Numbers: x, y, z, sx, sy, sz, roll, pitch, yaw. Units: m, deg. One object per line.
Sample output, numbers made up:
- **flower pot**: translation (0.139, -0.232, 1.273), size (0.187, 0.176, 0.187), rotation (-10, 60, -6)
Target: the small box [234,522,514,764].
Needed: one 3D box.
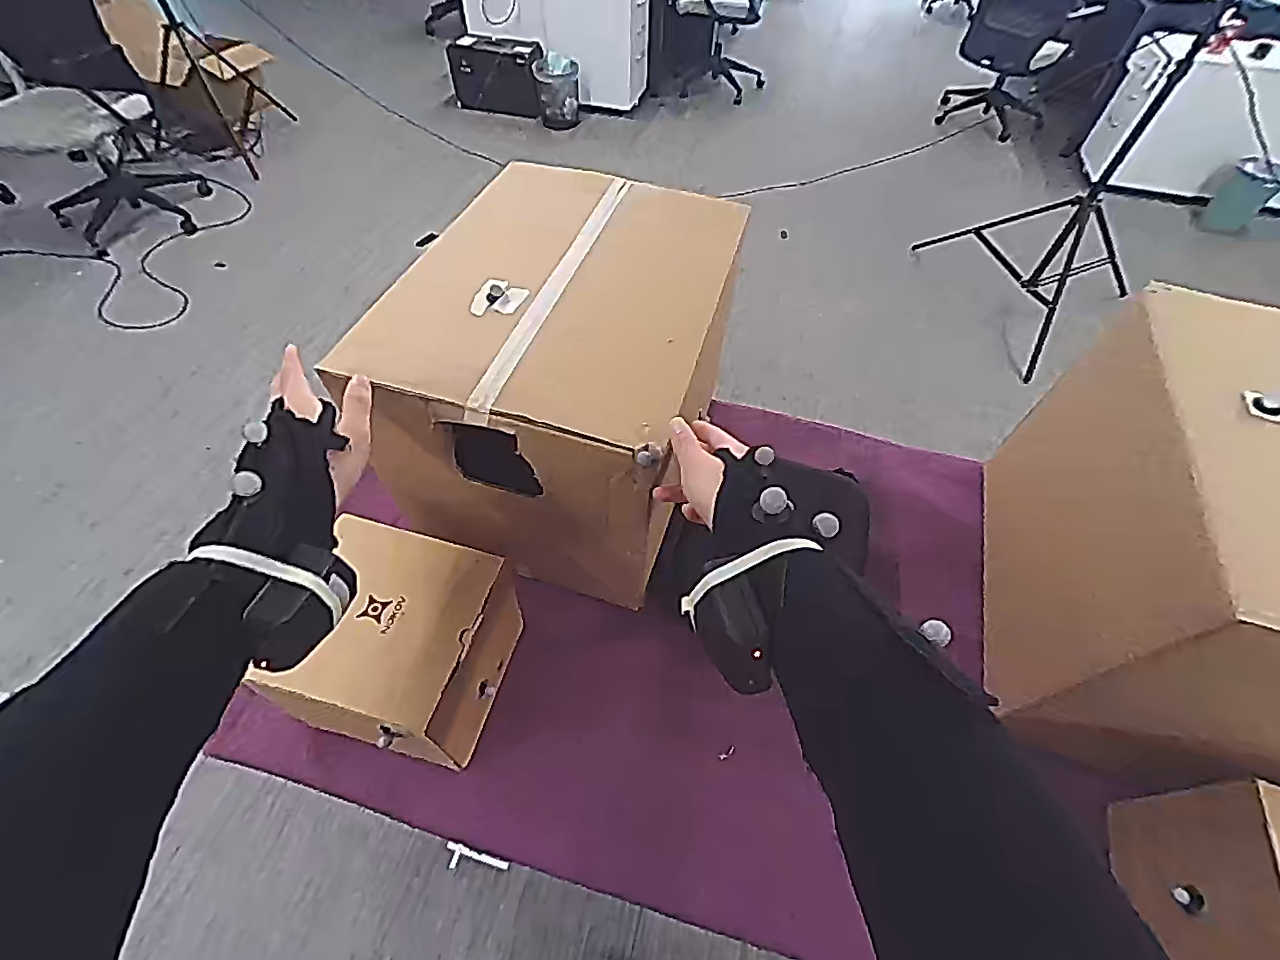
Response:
- **small box**: translation (-0.244, 0.171, 0.552), size (0.179, 0.176, 0.168), rotation (14, 53, 4)

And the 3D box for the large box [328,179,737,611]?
- **large box**: translation (-0.084, -0.108, 0.686), size (0.320, 0.320, 0.408), rotation (14, 56, 8)
